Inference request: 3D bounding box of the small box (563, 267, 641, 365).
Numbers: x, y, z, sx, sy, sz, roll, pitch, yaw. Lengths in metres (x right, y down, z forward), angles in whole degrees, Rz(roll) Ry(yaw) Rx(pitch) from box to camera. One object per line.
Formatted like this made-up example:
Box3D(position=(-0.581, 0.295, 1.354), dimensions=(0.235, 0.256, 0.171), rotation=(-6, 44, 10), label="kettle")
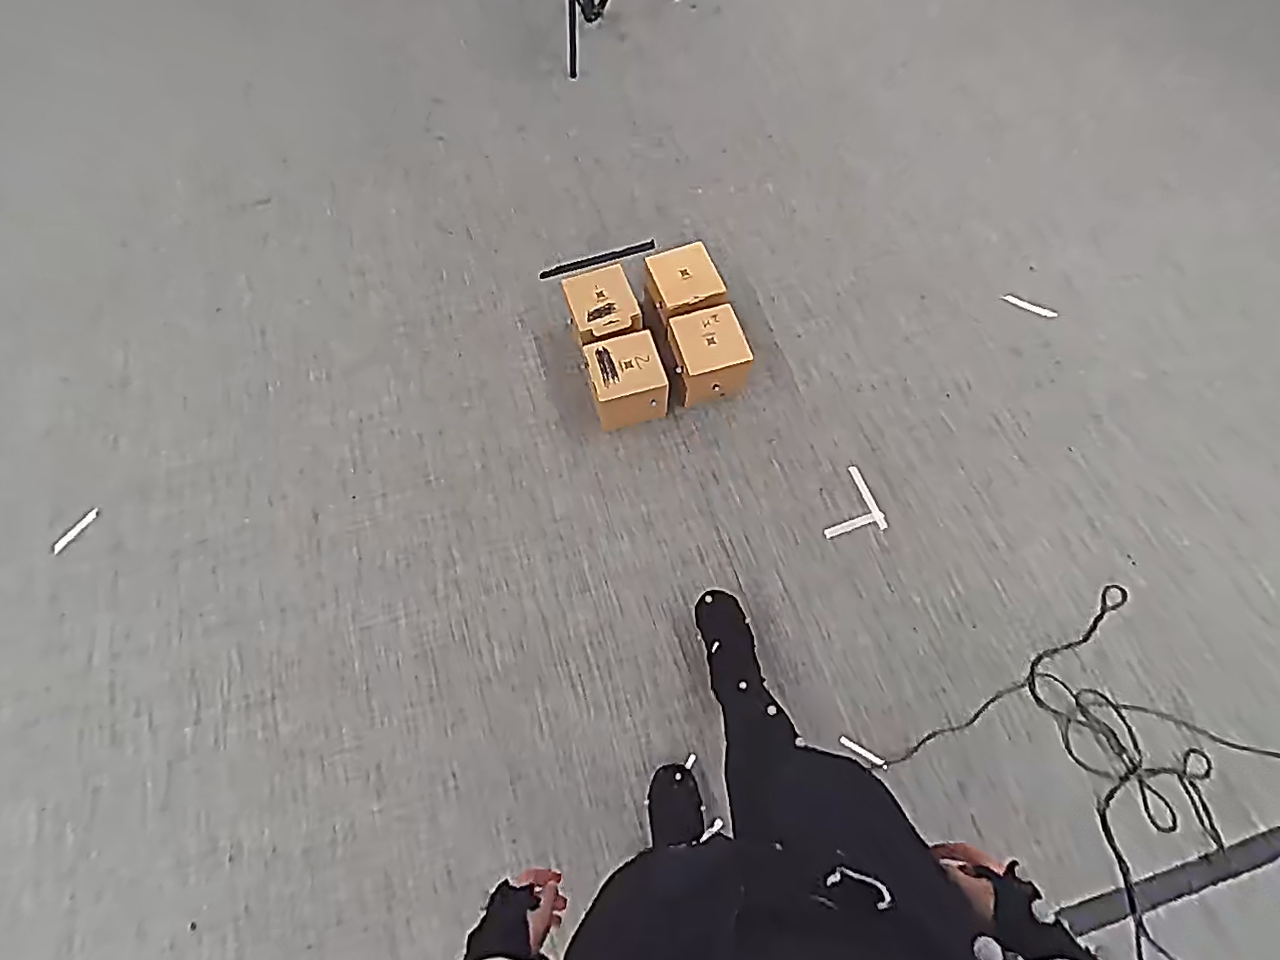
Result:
Box3D(position=(-0.096, -0.431, 1.455), dimensions=(0.168, 0.176, 0.179), rotation=(-17, 69, -6), label="small box")
